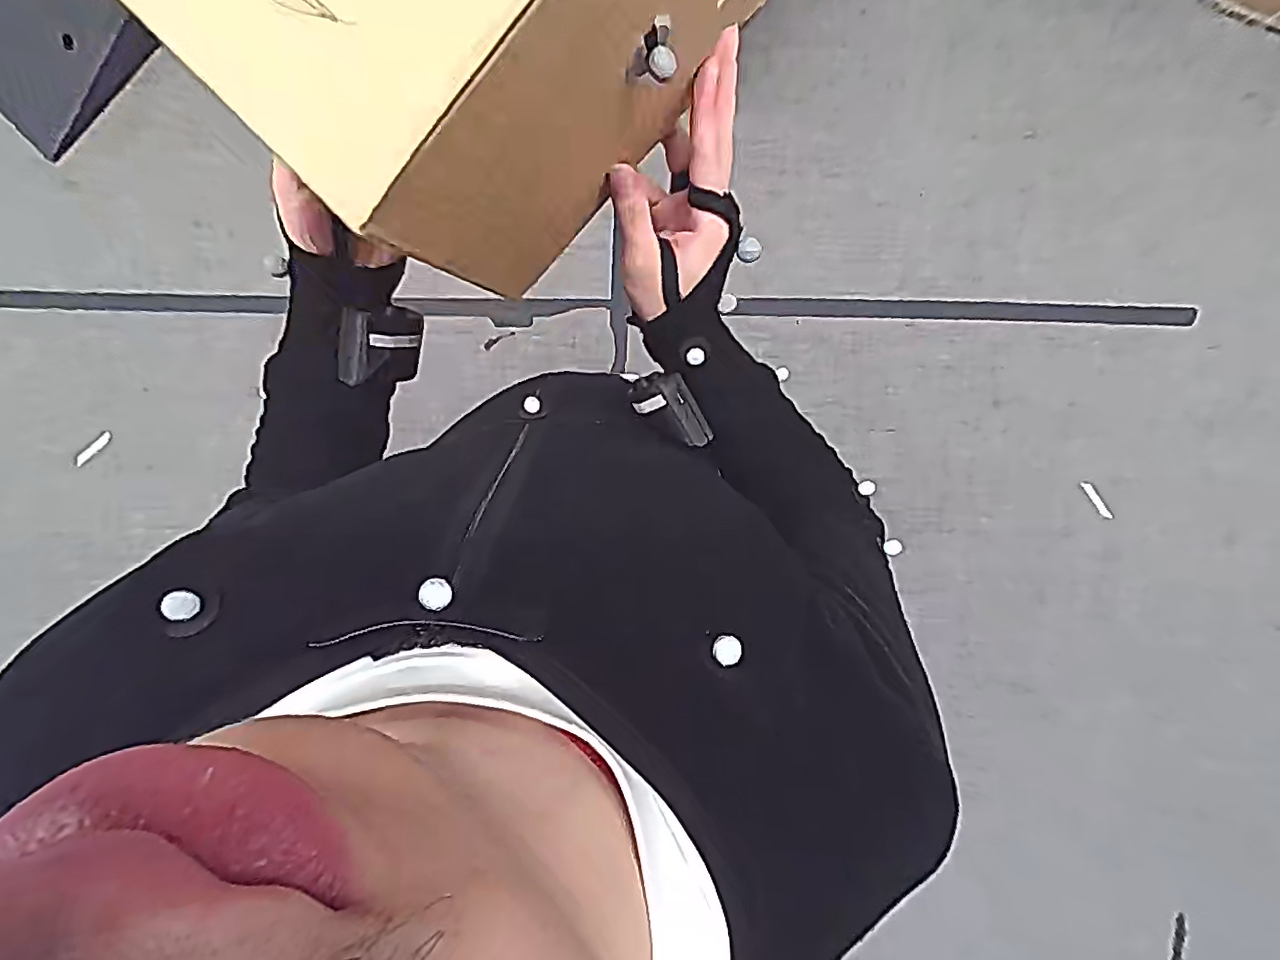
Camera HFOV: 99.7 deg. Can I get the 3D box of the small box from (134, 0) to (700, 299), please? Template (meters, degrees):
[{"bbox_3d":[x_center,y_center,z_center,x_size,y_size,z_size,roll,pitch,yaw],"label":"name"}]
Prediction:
[{"bbox_3d":[-0.085,-0.216,0.257,0.168,0.176,0.179,44,101,-1],"label":"small box"}]
